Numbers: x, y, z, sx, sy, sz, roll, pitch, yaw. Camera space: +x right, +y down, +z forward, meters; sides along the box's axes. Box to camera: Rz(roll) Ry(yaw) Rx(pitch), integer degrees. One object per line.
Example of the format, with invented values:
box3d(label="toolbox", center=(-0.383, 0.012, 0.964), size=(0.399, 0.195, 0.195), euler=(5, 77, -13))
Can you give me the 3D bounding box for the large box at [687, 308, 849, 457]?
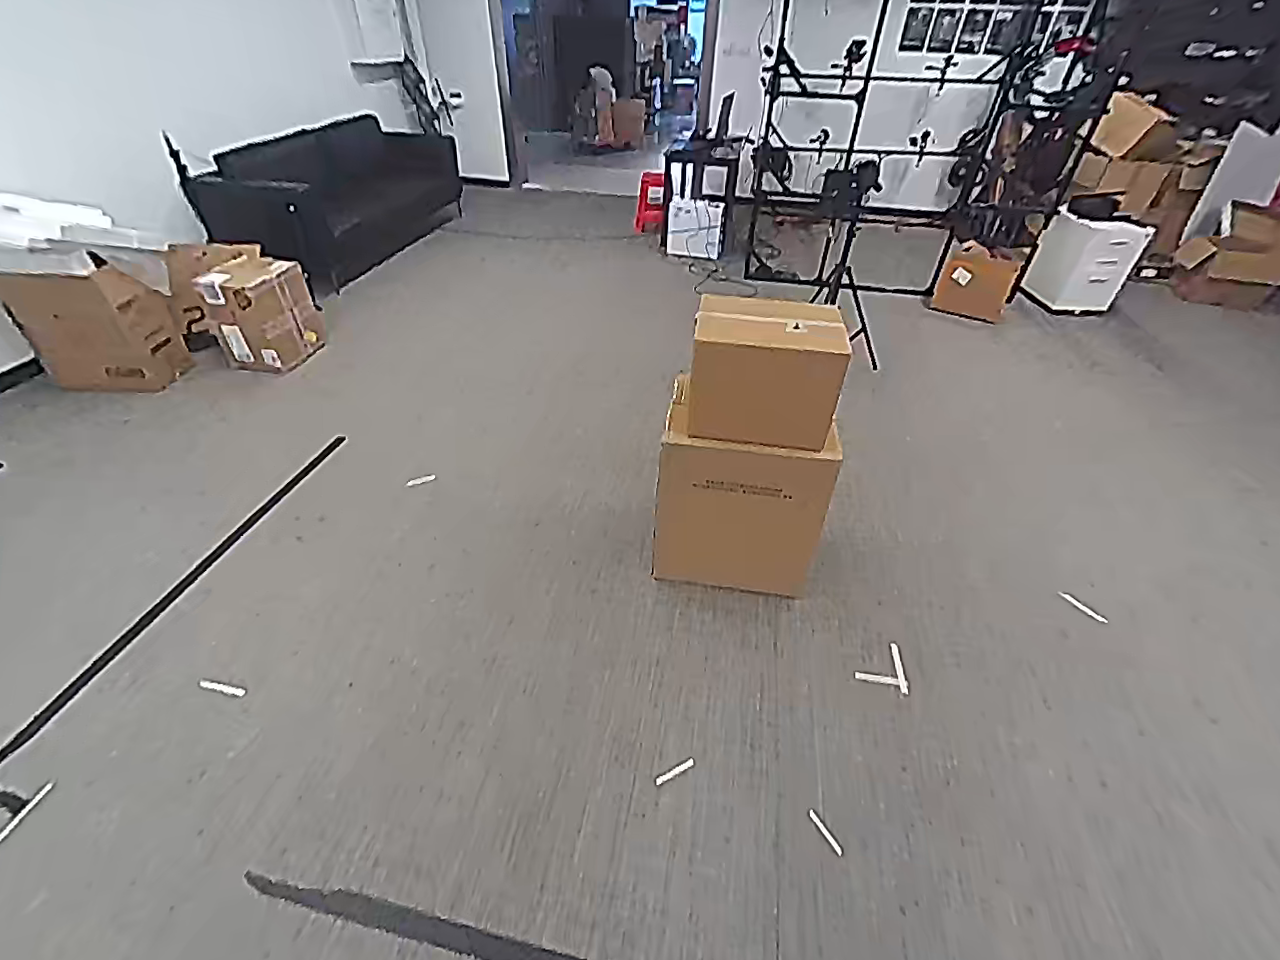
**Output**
box3d(label="large box", center=(0.357, -0.293, 1.612), size=(0.408, 0.320, 0.320), euler=(7, 40, 5))
